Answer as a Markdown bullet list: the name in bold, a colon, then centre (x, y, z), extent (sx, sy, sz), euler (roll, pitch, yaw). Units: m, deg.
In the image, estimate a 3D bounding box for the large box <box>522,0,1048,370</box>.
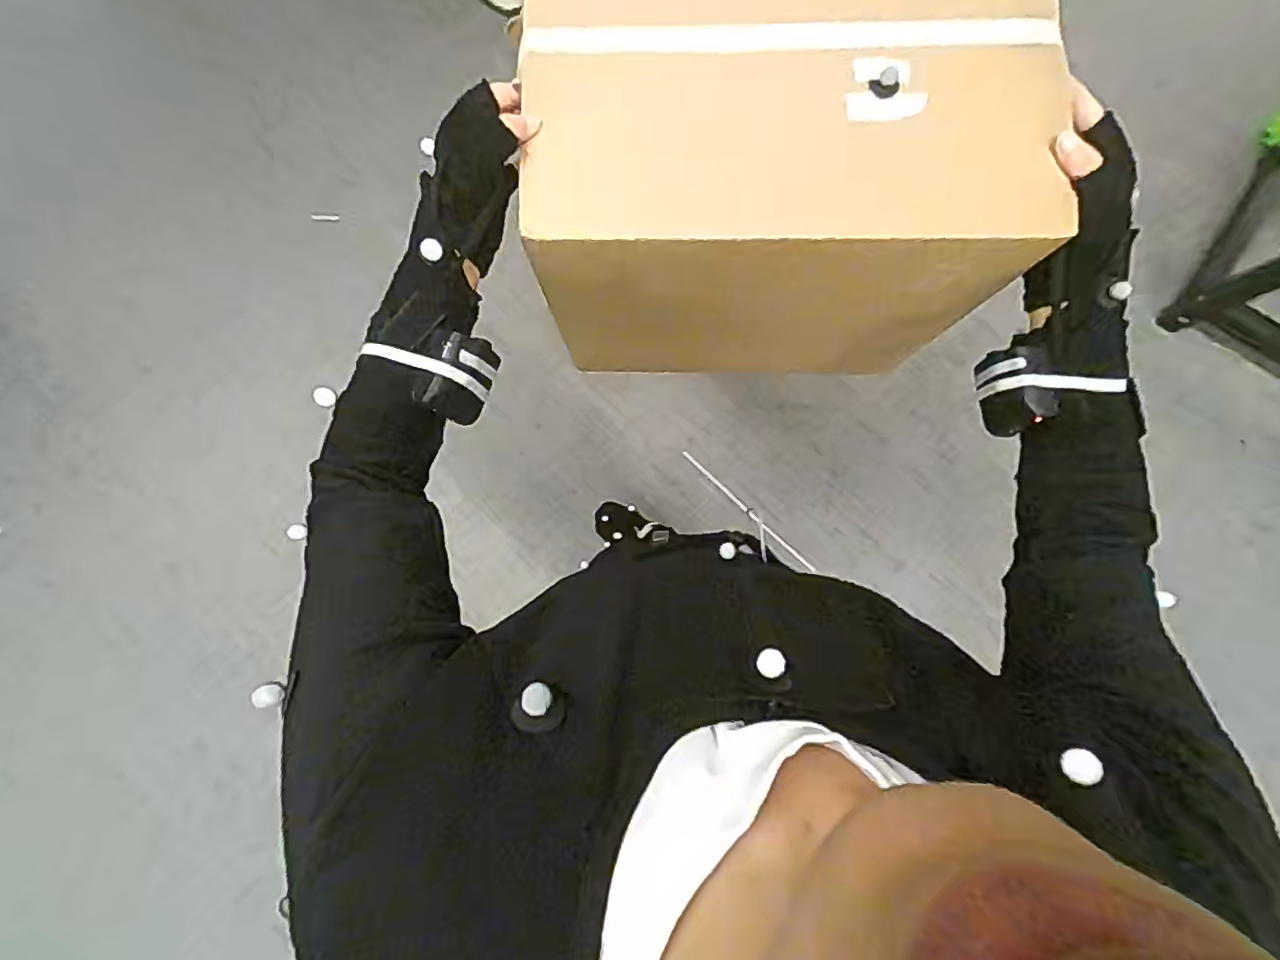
- **large box**: centre (0.105, -0.316, 0.572), extent (0.408, 0.320, 0.320), euler (-1, 83, 0)
